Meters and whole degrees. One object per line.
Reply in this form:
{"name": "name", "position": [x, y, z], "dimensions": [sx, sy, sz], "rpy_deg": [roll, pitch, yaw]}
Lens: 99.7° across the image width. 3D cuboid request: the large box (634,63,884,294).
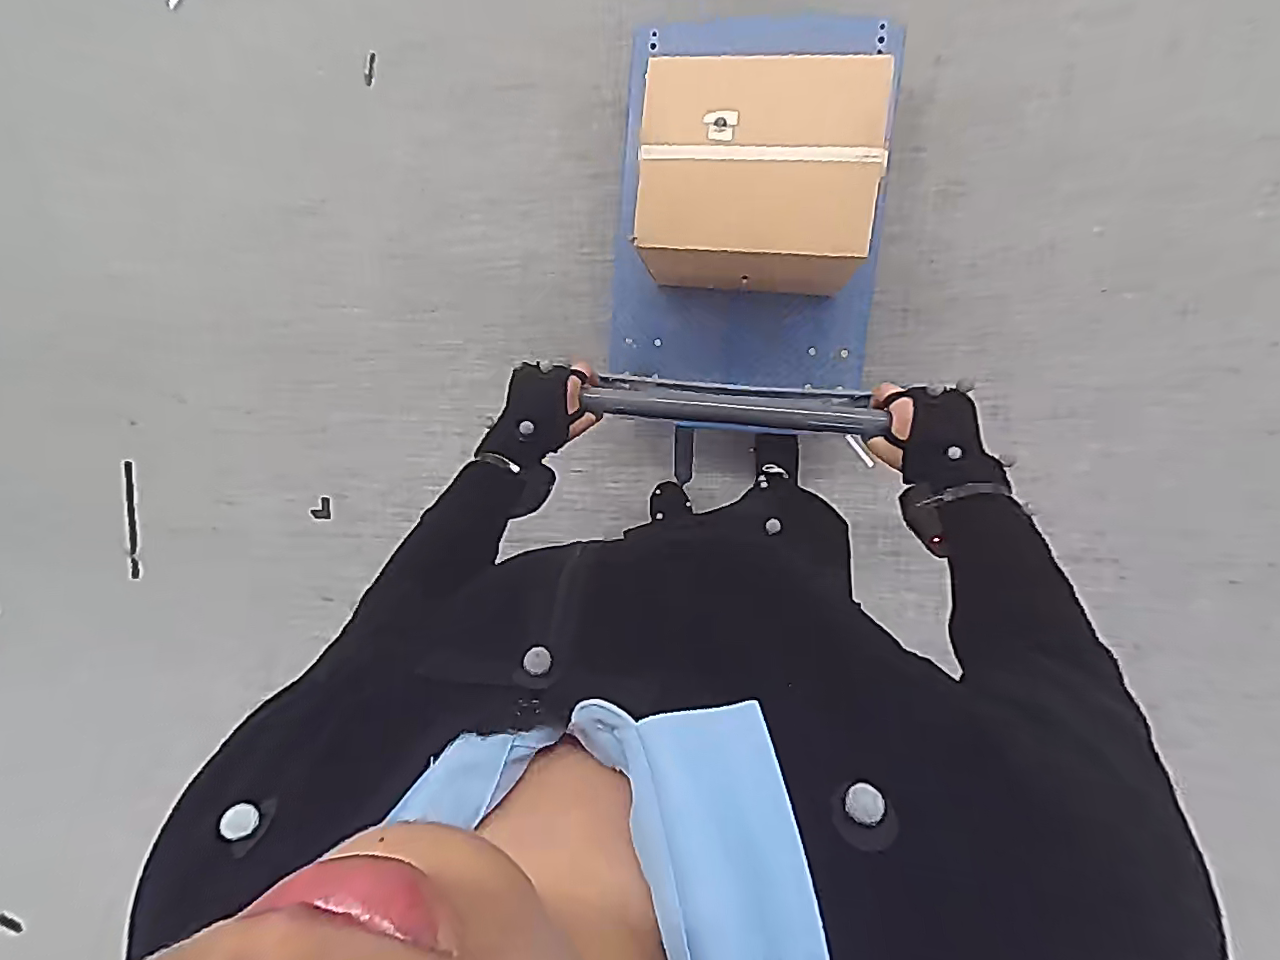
{"name": "large box", "position": [0.224, -0.563, 1.077], "dimensions": [0.408, 0.320, 0.320], "rpy_deg": [6, 97, 10]}
